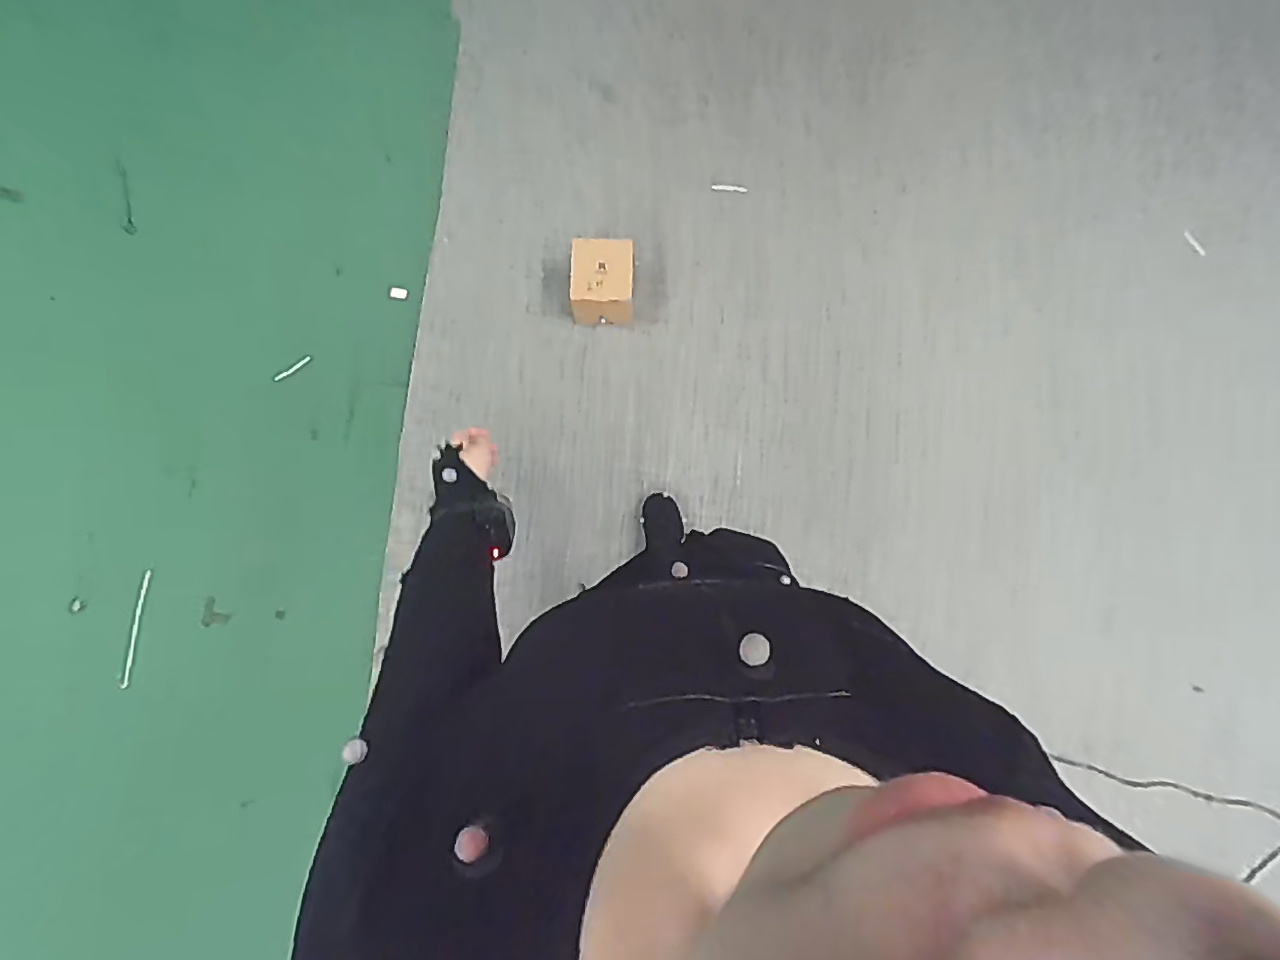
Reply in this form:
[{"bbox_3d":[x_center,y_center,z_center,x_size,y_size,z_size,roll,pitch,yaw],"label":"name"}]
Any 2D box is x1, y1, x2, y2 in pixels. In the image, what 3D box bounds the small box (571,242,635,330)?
[{"bbox_3d":[-0.098,-0.537,1.508,0.168,0.176,0.179,1,82,0],"label":"small box"}]
